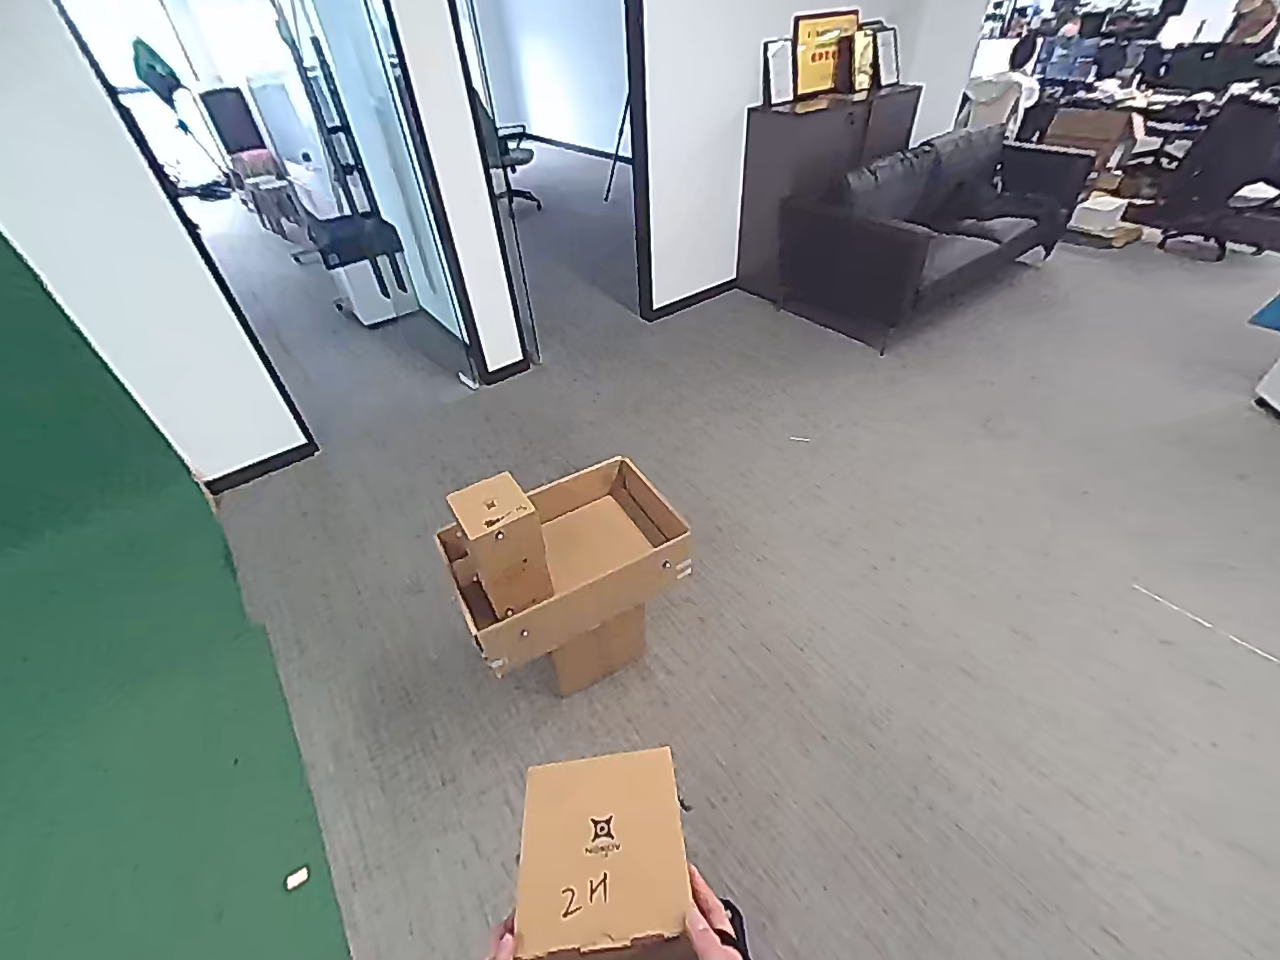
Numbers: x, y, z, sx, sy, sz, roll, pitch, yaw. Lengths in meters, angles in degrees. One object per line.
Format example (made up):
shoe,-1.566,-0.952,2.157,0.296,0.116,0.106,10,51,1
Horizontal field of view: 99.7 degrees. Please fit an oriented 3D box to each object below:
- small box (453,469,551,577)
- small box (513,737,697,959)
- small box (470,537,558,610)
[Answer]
small box,-0.343,0.109,1.358,0.168,0.176,0.179,-27,47,-20
small box,-0.032,0.424,0.605,0.168,0.176,0.179,-9,32,0
small box,-0.337,0.228,1.470,0.168,0.176,0.179,-24,45,-20
